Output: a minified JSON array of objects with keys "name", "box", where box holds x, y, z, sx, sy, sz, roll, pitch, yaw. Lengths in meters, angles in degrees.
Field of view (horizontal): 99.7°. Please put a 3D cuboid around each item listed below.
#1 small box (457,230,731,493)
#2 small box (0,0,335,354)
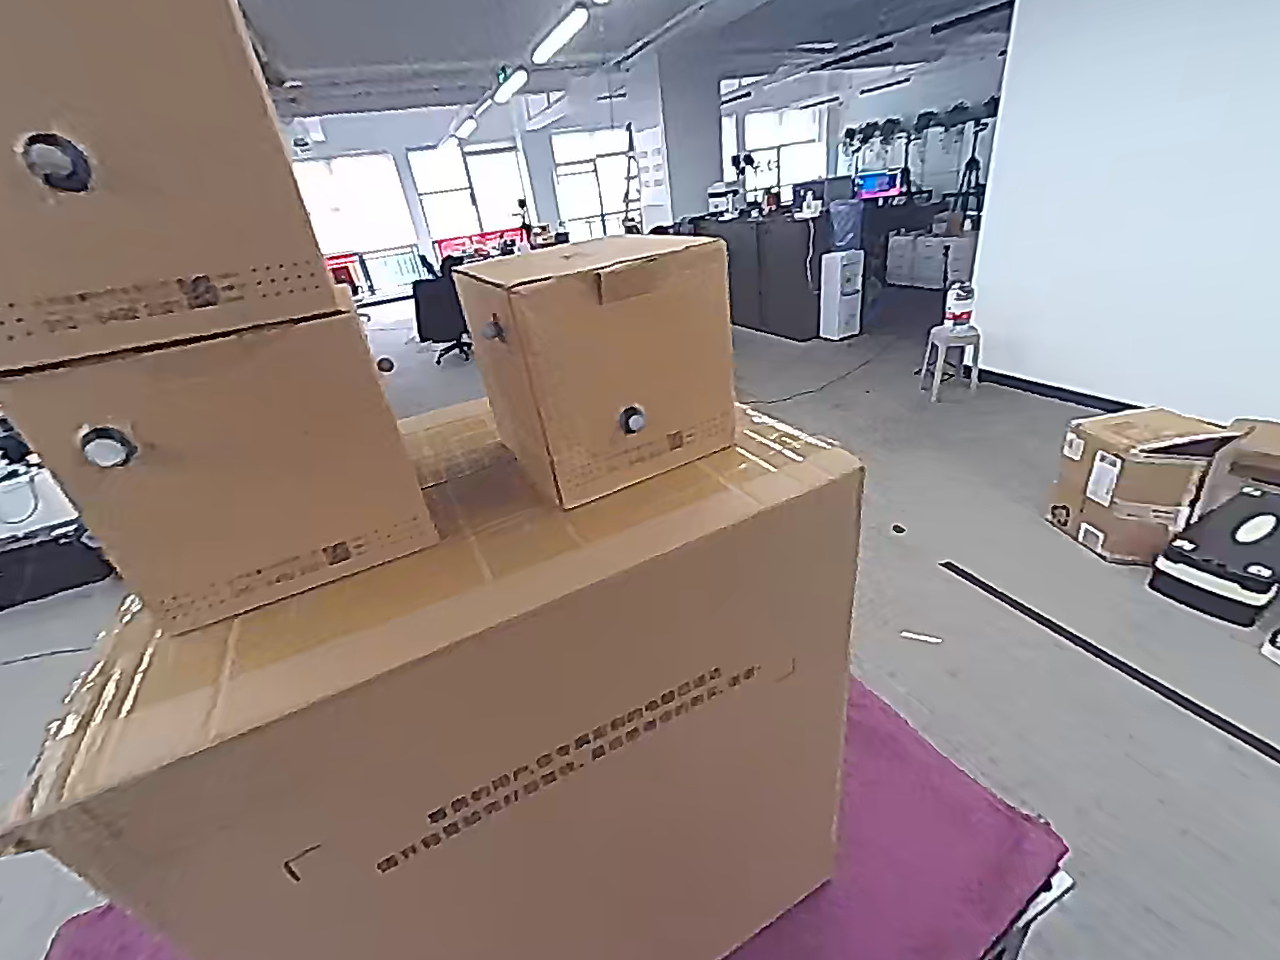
[{"name":"small box","box":[-0.039,-0.110,0.465,0.168,0.176,0.179,-22,32,-21]},{"name":"small box","box":[-0.288,-0.175,0.300,0.168,0.176,0.179,-20,30,-24]}]
